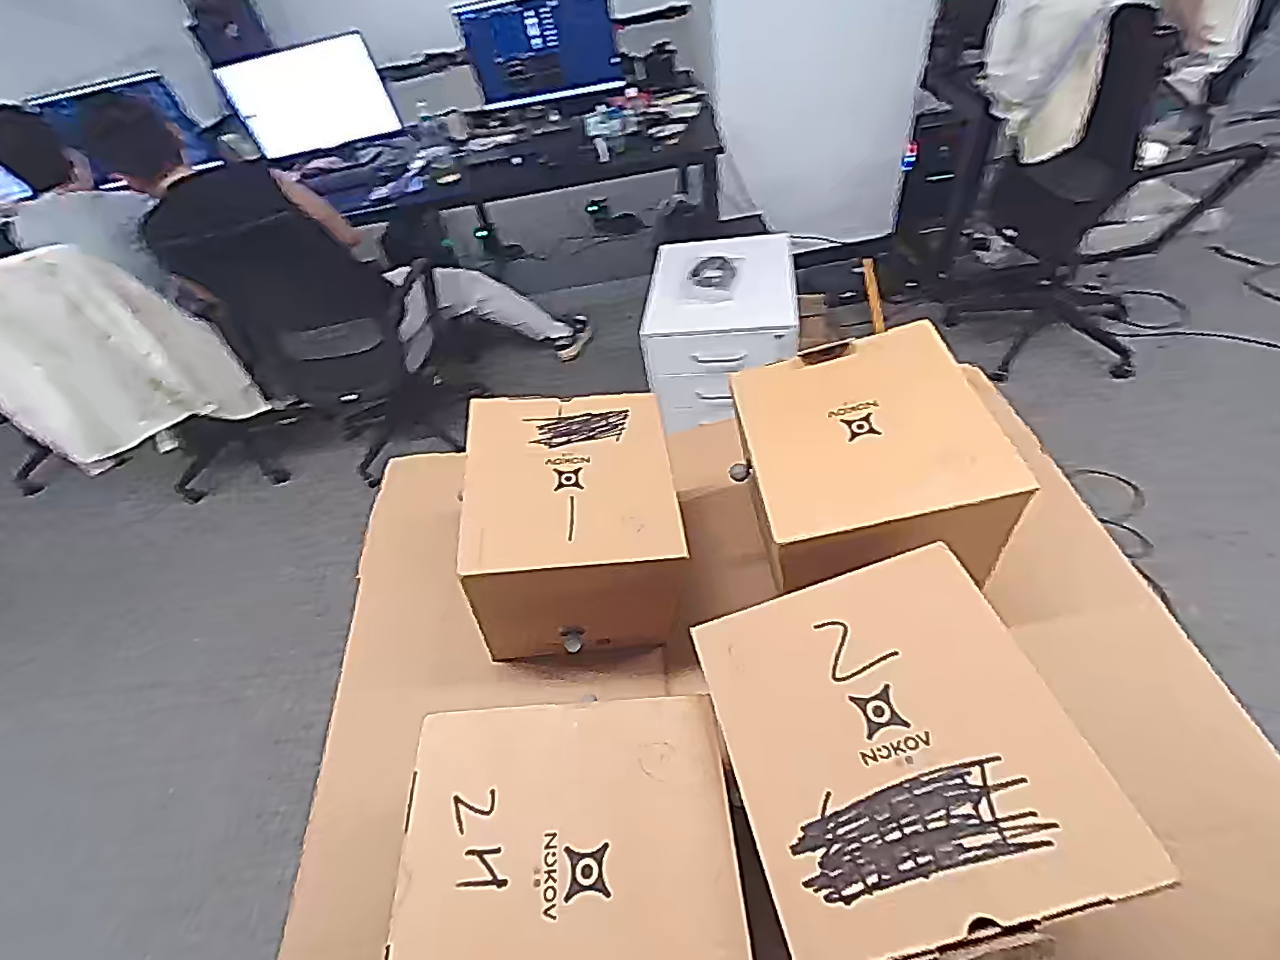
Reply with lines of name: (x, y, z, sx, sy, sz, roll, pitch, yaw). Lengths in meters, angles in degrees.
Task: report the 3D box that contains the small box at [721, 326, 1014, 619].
small box: (0.178, 0.005, 0.468, 0.168, 0.176, 0.179, -14, 50, 9)
